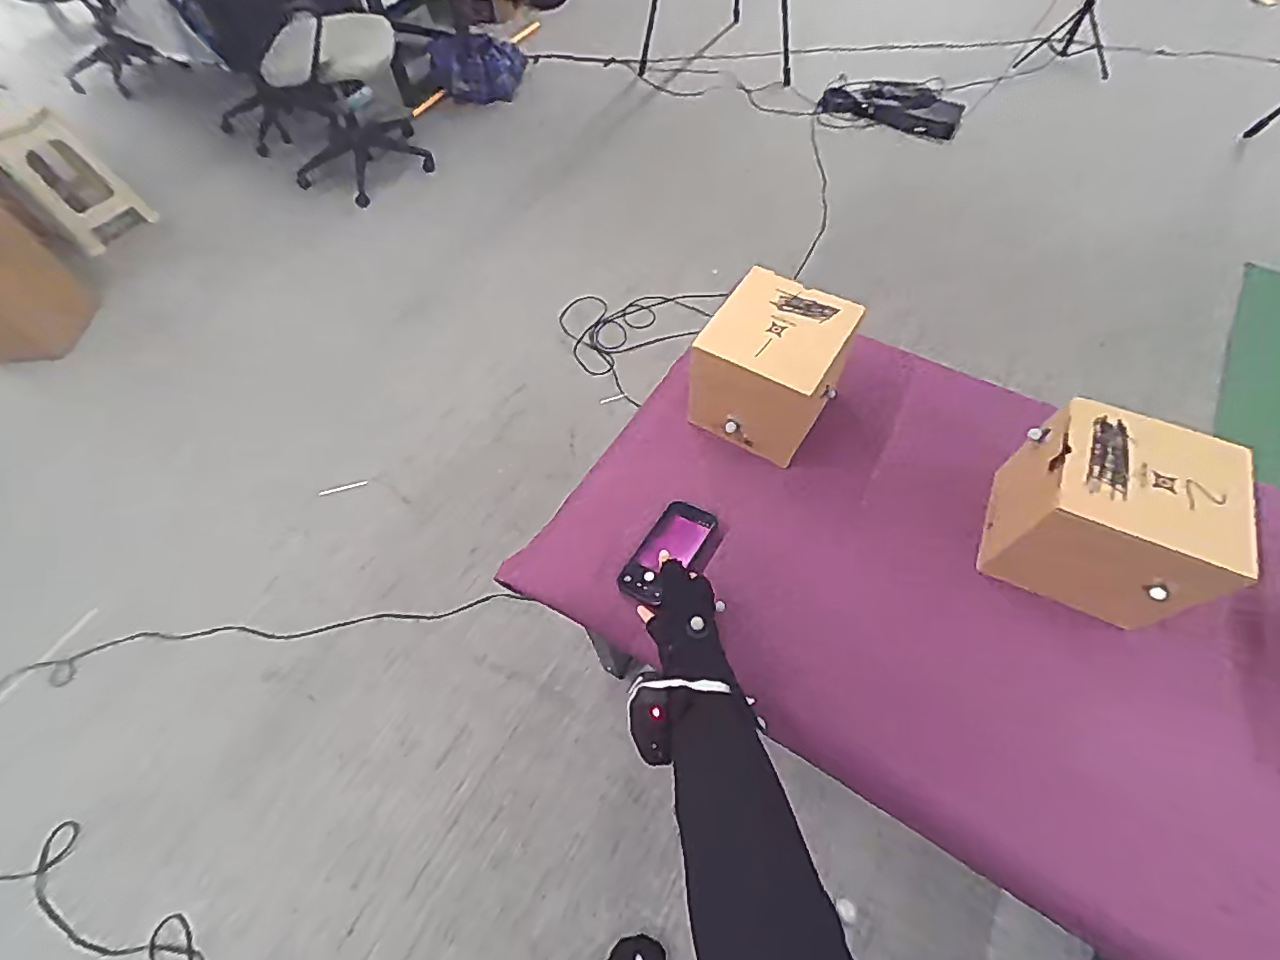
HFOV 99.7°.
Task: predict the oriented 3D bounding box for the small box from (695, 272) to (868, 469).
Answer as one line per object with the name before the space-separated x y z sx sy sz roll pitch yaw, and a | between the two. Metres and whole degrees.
small box | 0.186 -0.150 0.762 0.168 0.176 0.179 29 66 19
